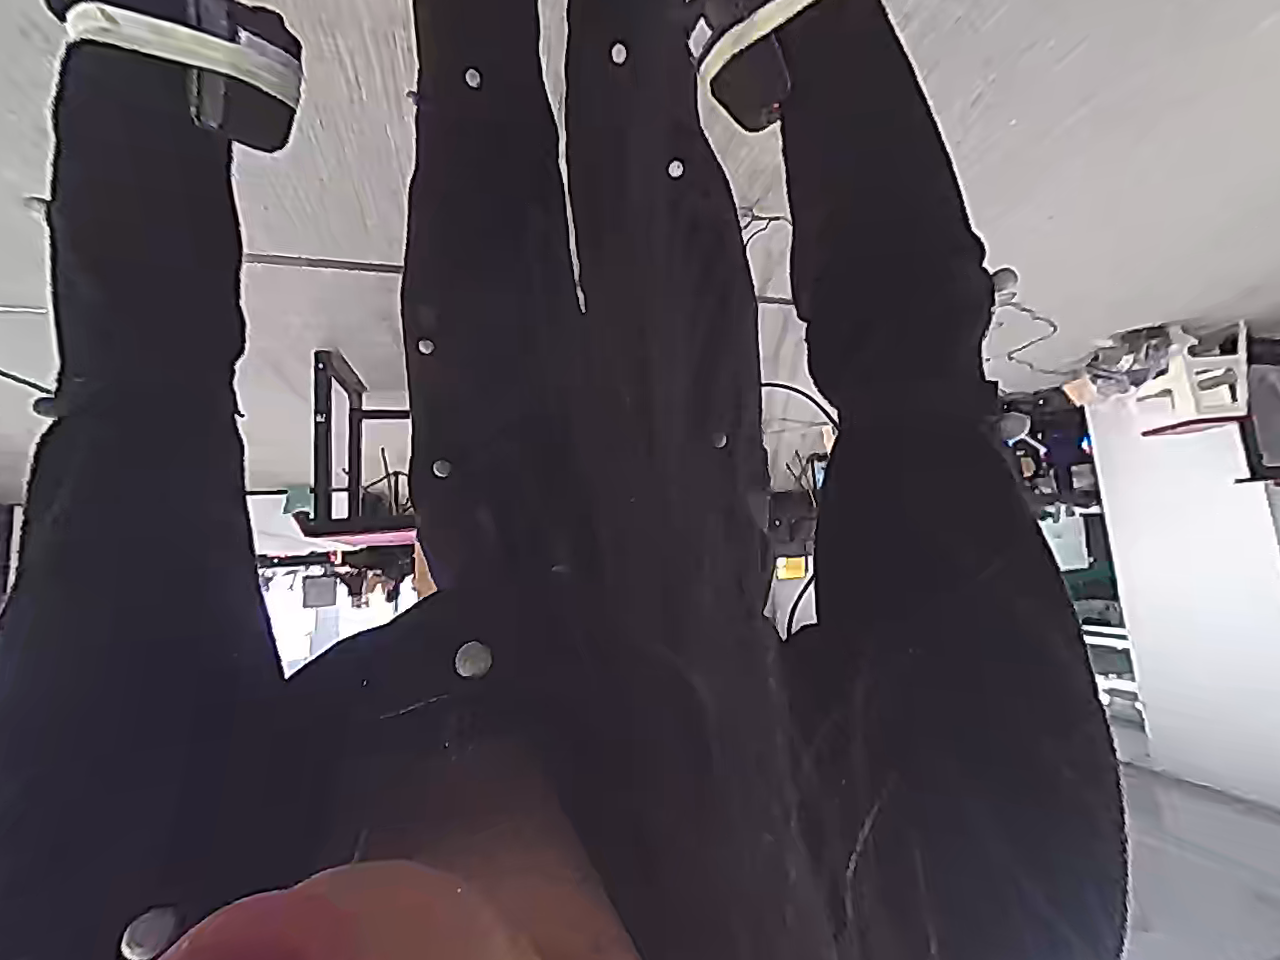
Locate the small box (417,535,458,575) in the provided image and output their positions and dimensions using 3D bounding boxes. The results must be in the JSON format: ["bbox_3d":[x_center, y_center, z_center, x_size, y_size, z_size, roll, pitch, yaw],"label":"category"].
[{"bbox_3d":[-0.946,0.352,2.529,0.179,0.176,0.168,-2,171,-20],"label":"small box"}]

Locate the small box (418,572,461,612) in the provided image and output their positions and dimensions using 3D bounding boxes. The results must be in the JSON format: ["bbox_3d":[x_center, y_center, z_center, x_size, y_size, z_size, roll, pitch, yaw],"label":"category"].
[{"bbox_3d":[-0.933,0.514,2.506,0.179,0.176,0.168,-2,170,-21],"label":"small box"}]
